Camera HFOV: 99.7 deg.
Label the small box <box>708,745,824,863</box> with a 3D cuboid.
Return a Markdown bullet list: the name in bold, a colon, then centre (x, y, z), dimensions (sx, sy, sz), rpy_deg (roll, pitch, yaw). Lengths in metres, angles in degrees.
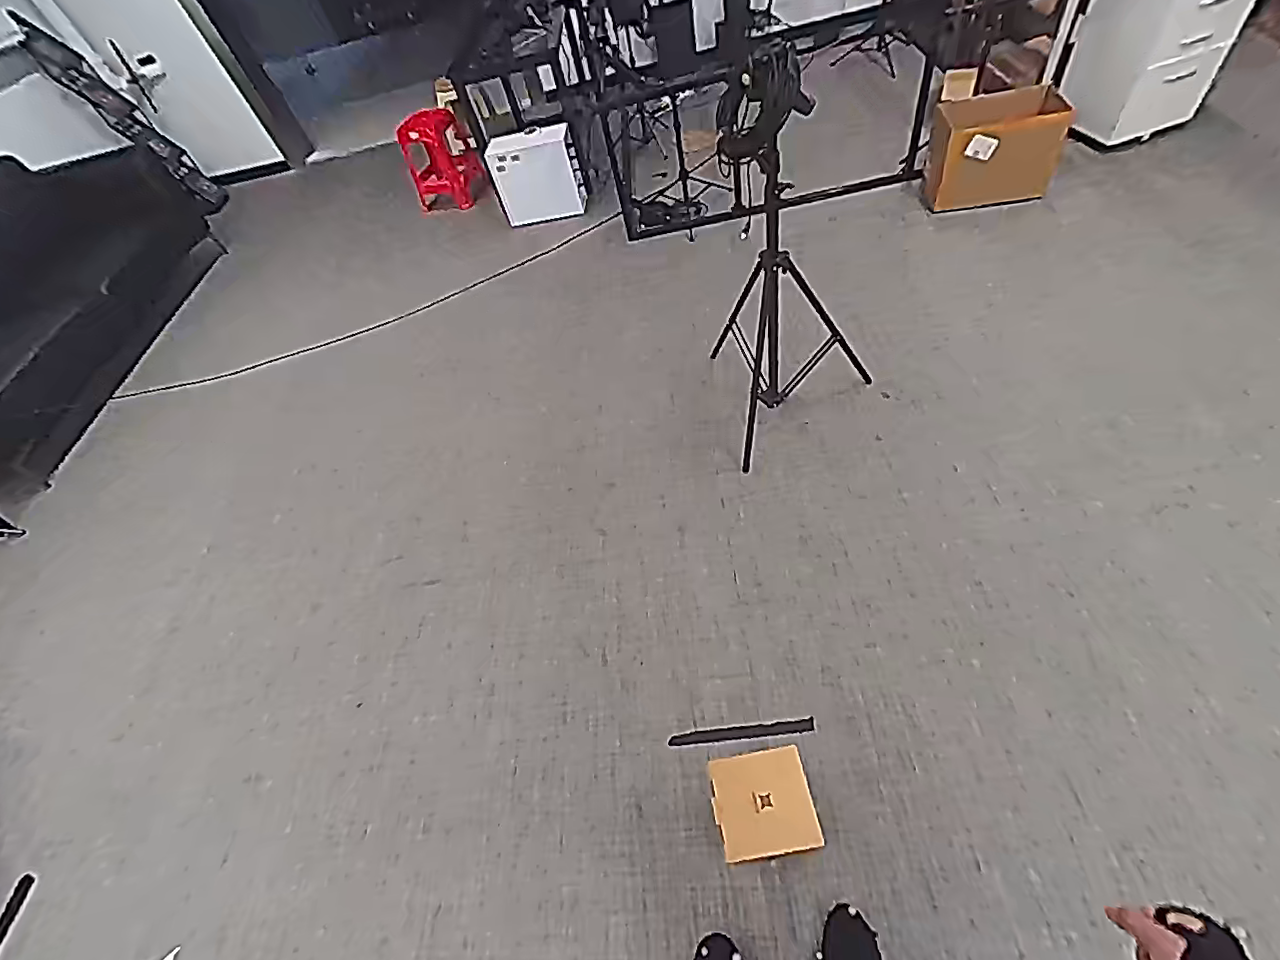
- **small box**: centre (0.239, 0.631, 1.048), dimensions (0.179, 0.176, 0.168), rpy_deg (-14, 52, 5)
